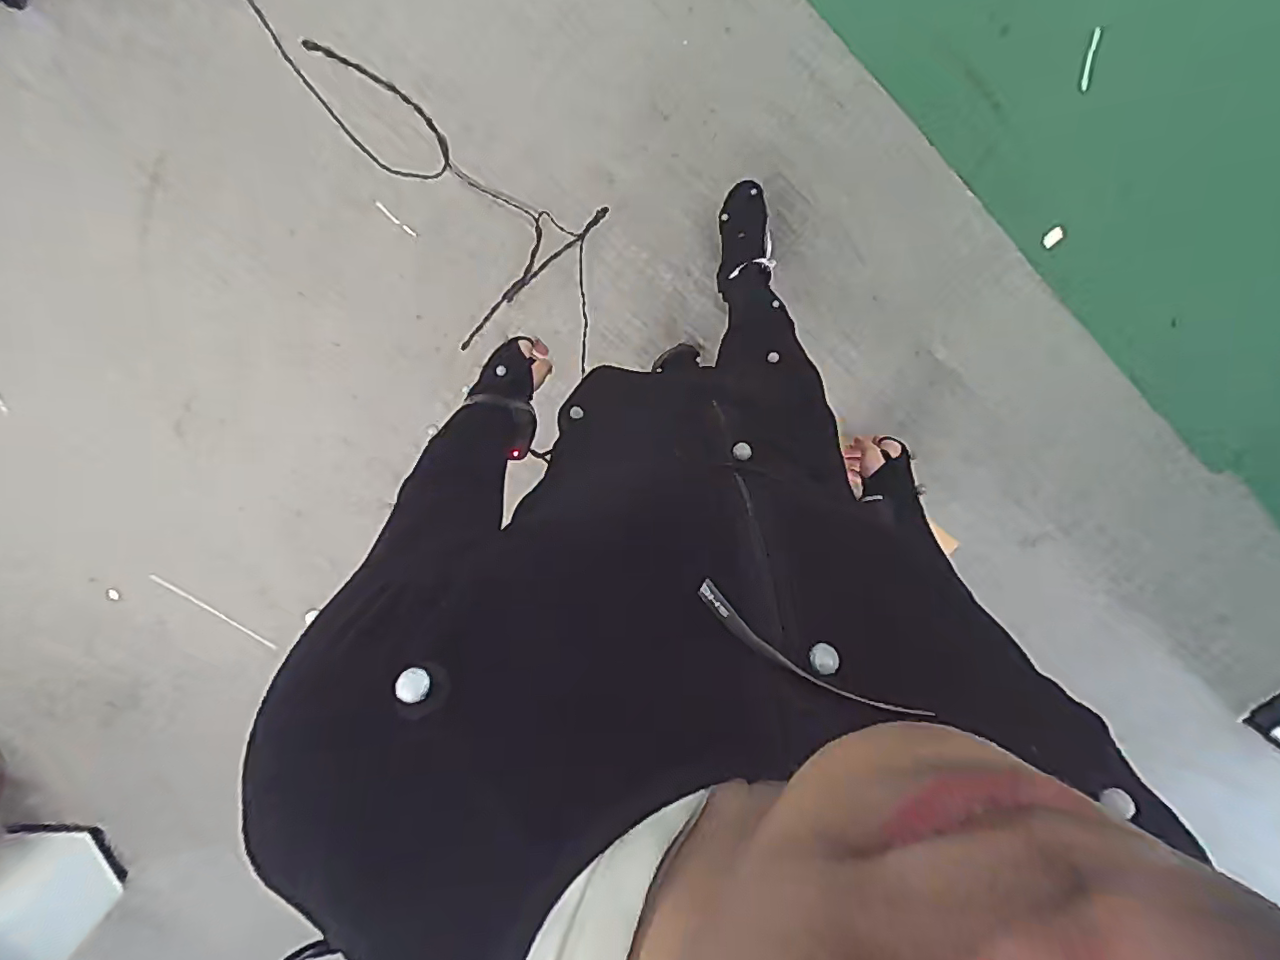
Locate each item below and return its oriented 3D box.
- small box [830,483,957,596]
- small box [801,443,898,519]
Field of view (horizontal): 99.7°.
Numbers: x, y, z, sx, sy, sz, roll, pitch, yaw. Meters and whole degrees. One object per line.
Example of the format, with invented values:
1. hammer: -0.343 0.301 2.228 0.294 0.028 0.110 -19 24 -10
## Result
1. small box: 0.572 0.127 1.247 0.179 0.176 0.168 37 107 -12
2. small box: 0.593 0.019 1.557 0.168 0.176 0.179 39 108 -11
